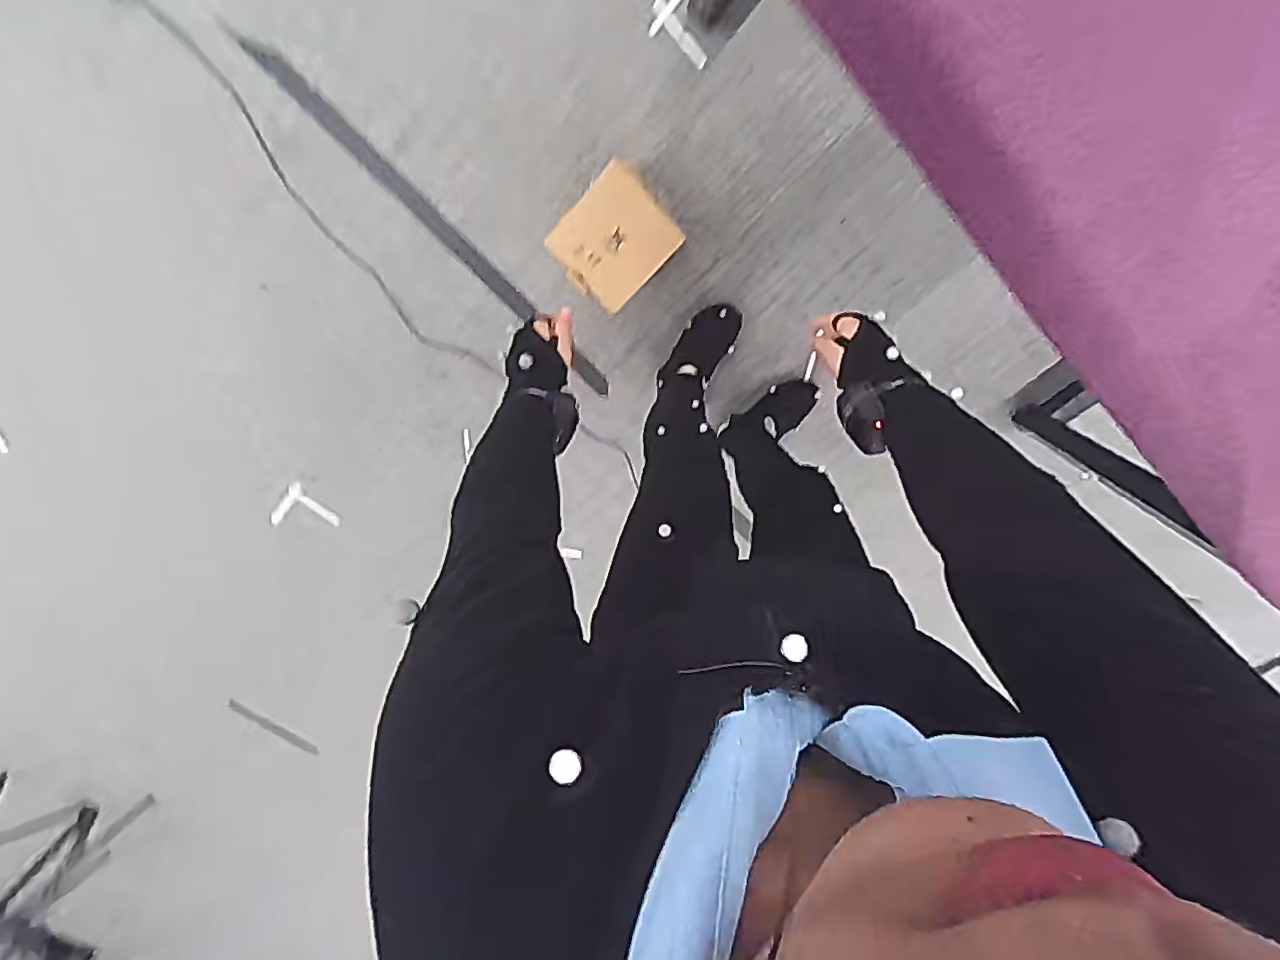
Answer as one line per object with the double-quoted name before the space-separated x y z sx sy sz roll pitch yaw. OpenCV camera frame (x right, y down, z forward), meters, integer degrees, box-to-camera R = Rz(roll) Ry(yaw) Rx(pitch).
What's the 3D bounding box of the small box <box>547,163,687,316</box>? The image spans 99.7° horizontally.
"small box" -0.037 -0.427 0.962 0.179 0.176 0.168 -41 108 21
